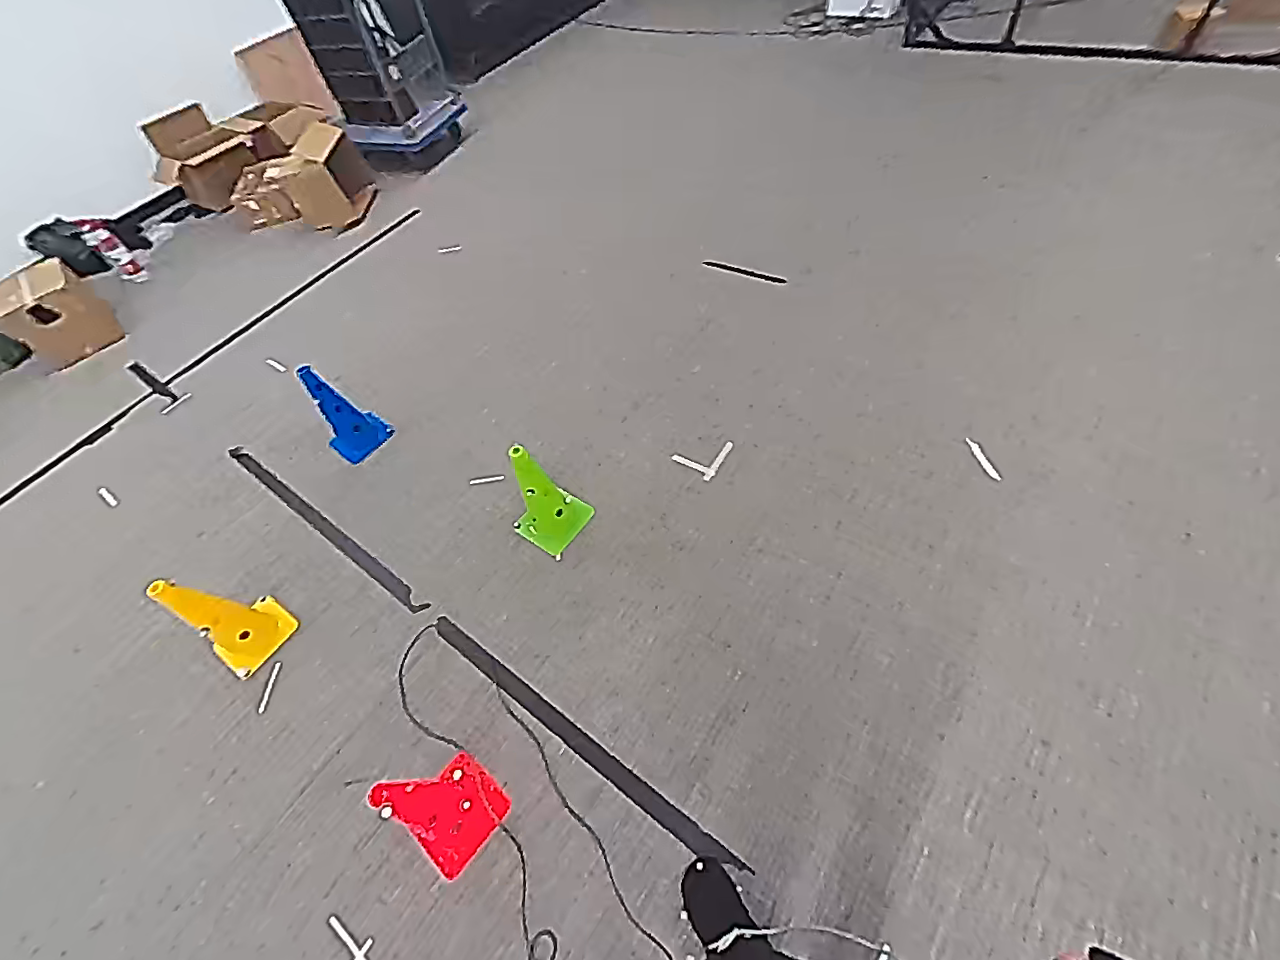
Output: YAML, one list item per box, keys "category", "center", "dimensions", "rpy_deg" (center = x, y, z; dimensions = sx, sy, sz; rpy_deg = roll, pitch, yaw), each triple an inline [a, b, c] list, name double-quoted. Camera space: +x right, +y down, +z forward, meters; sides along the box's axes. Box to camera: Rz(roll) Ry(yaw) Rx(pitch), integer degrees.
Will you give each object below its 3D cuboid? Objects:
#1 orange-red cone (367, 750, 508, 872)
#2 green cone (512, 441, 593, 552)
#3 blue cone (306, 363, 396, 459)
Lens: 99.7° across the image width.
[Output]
- category: "orange-red cone"
  center: [-0.463, 0.682, 1.149]
  dimensions: [0.198, 0.360, 0.199]
  rpy_deg: [31, 67, 30]
- category: "green cone"
  center: [-0.300, 0.018, 1.590]
  dimensions: [0.200, 0.368, 0.202]
  rpy_deg: [27, 63, 26]
- category: "blue cone"
  center: [-1.090, -0.266, 1.965]
  dimensions: [0.193, 0.380, 0.192]
  rpy_deg: [31, 65, 28]
